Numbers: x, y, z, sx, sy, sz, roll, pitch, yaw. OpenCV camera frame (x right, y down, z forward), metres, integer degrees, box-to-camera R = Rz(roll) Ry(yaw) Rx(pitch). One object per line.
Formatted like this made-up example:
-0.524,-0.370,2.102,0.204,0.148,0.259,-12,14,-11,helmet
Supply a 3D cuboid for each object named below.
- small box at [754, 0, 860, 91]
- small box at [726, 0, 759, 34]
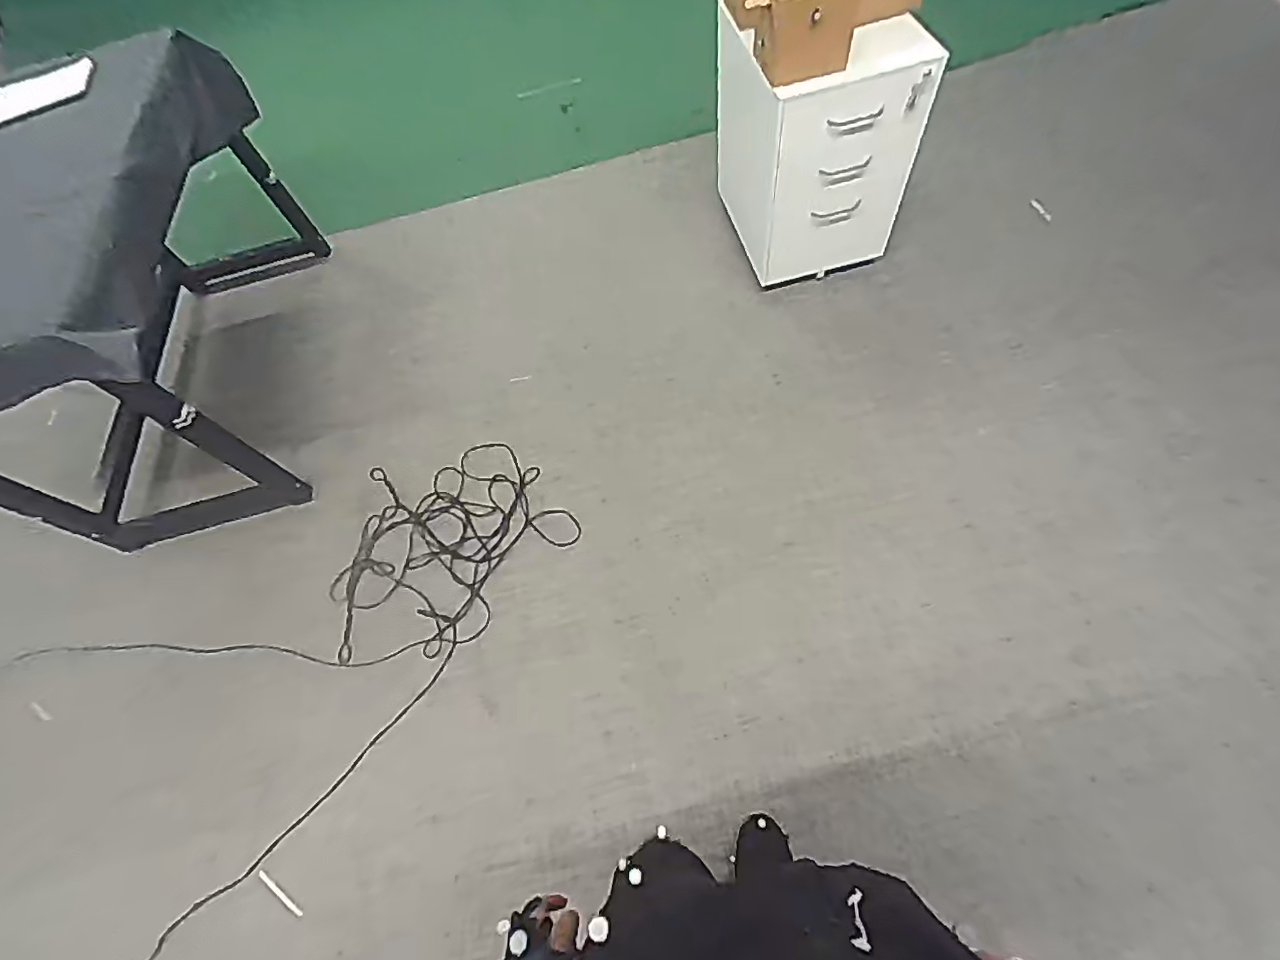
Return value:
0.365,-1.018,1.213,0.179,0.176,0.168,-13,61,1,small box
0.313,-1.254,1.345,0.179,0.176,0.168,-12,63,0,small box
